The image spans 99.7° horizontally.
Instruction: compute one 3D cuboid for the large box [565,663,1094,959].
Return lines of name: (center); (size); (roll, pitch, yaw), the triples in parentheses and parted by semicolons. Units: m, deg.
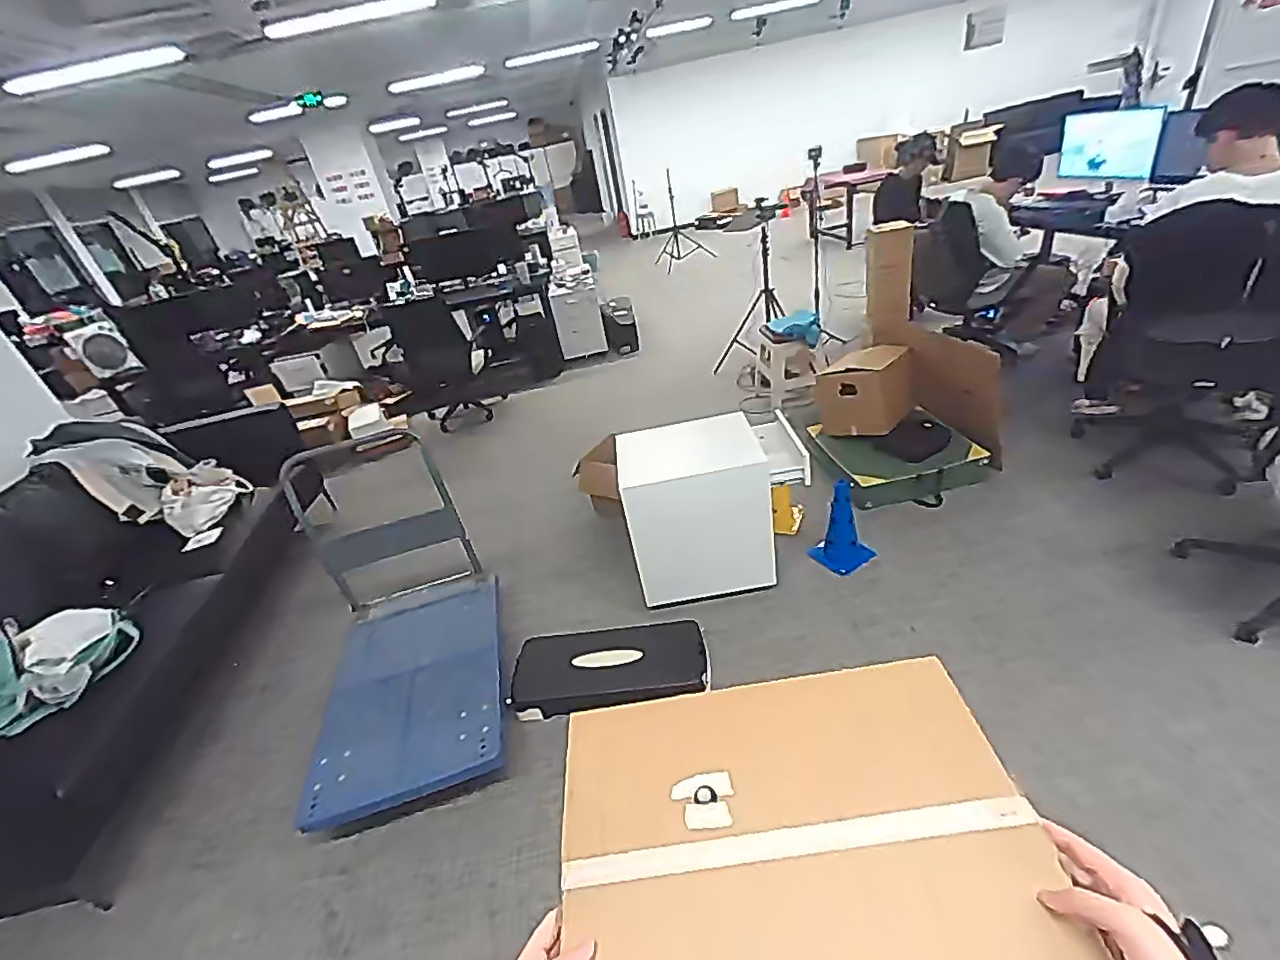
large box: (0.160, 0.444, 0.566); (0.408, 0.320, 0.320); (-12, 36, 5)
